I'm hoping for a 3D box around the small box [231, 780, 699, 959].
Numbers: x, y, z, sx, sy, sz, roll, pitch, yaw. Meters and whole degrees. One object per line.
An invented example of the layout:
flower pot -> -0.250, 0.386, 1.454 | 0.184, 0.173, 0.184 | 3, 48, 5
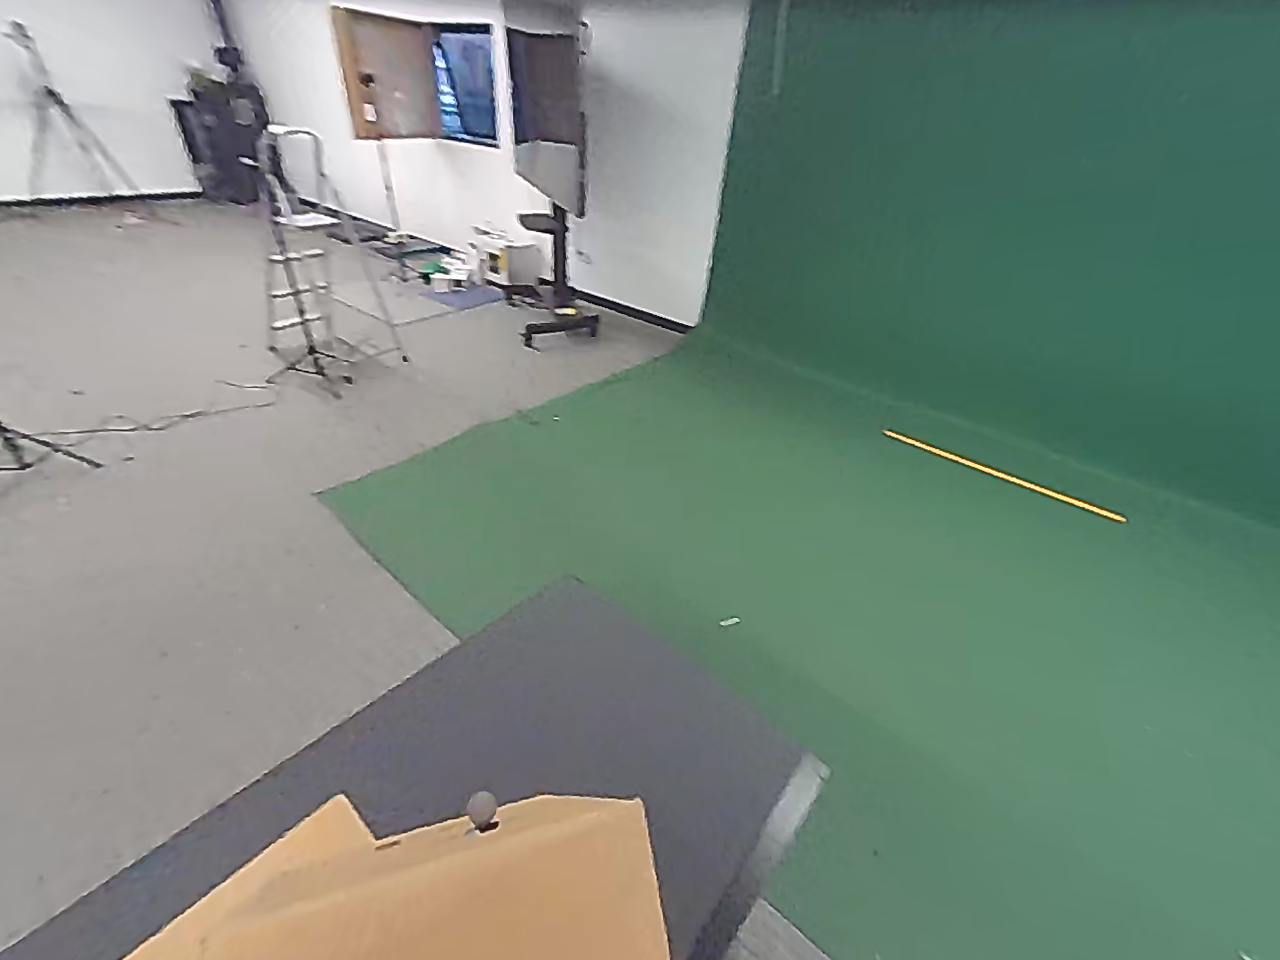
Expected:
small box -> -0.078, 0.250, 0.240 | 0.168, 0.176, 0.179 | 1, 64, -27
